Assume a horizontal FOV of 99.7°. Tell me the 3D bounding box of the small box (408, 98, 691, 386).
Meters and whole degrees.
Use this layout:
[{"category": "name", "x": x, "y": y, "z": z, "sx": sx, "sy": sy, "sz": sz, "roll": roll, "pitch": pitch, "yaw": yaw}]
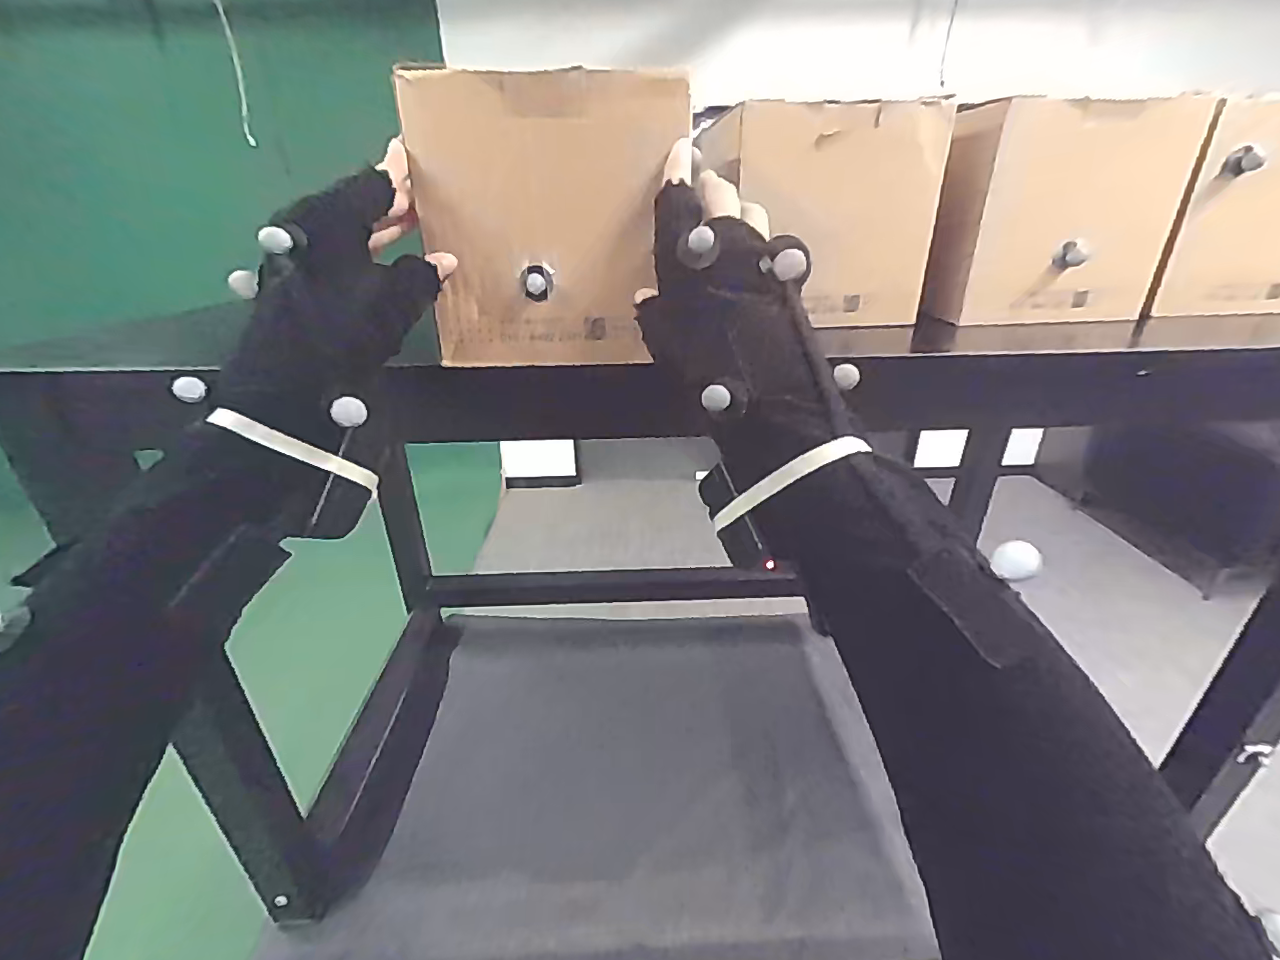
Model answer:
[{"category": "small box", "x": -0.054, "y": -0.176, "z": 0.417, "sx": 0.168, "sy": 0.176, "sz": 0.179, "roll": -2, "pitch": 26, "yaw": -2}]
